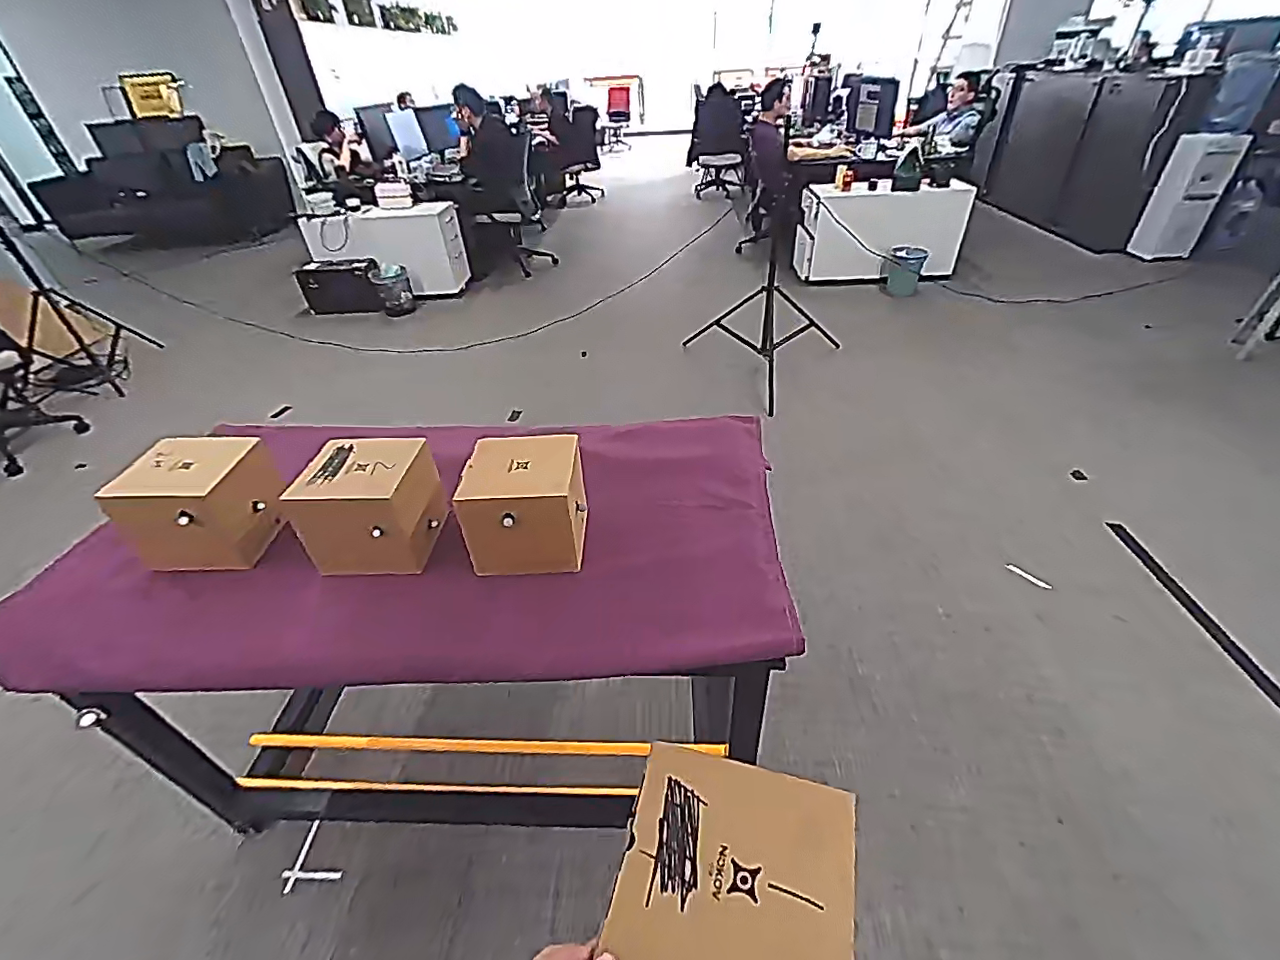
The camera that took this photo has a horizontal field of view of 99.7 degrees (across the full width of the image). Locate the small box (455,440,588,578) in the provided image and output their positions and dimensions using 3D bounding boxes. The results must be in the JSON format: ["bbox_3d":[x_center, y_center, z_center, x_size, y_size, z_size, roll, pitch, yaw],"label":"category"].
[{"bbox_3d":[-0.186,0.050,0.911,0.179,0.176,0.168,-3,37,2],"label":"small box"}]

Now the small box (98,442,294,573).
[{"bbox_3d":[-0.754,0.050,0.947,0.179,0.176,0.168,-1,37,0],"label":"small box"}]

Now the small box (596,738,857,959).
[{"bbox_3d":[0.080,0.358,0.465,0.179,0.176,0.168,8,43,16],"label":"small box"}]
